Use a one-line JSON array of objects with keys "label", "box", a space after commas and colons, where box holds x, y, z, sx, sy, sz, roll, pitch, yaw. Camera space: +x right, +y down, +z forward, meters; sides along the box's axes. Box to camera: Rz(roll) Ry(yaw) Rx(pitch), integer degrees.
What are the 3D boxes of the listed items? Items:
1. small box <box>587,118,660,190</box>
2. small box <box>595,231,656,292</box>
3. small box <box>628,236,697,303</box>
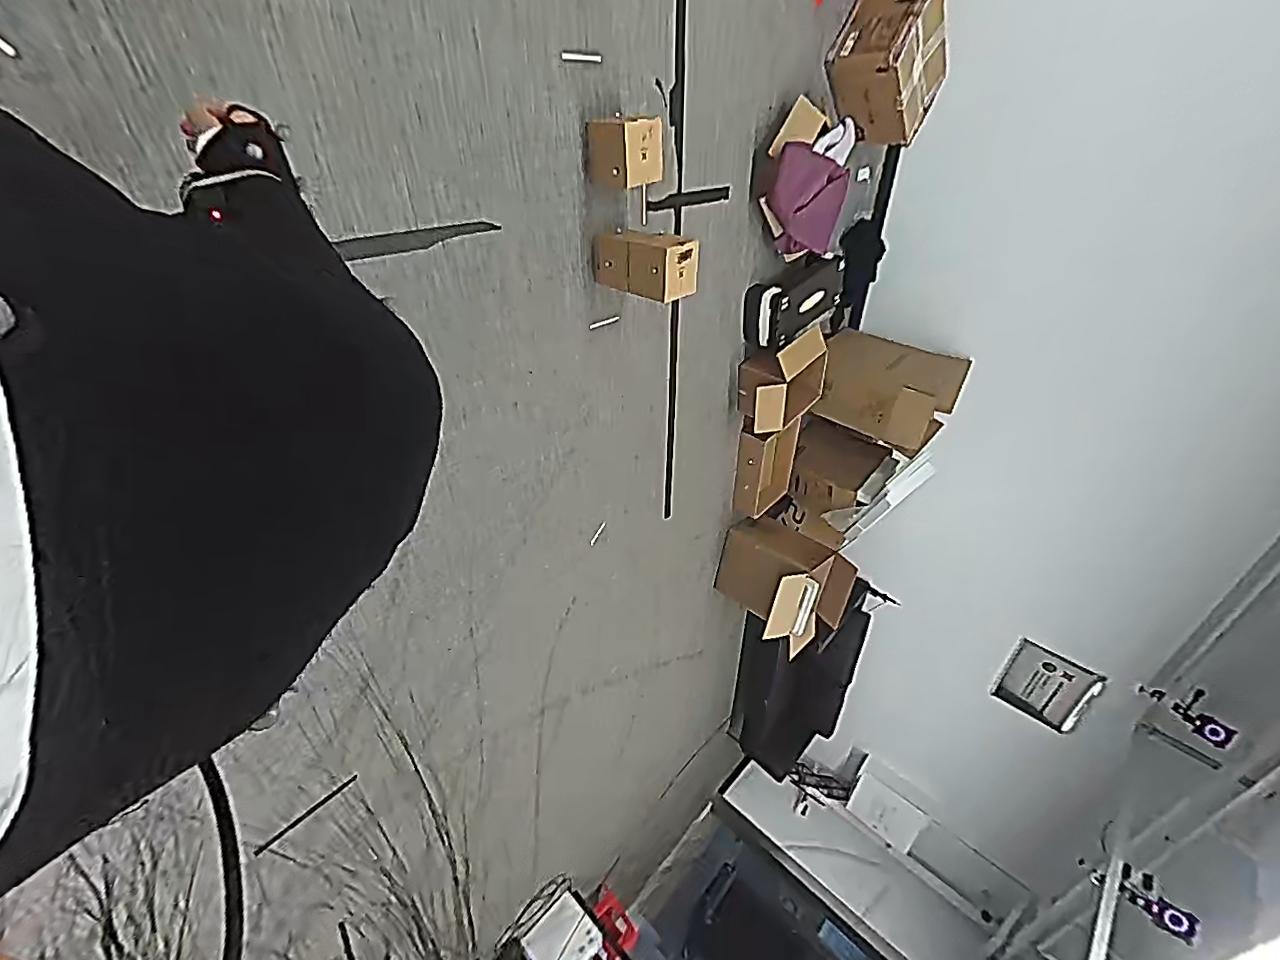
[{"label": "small box", "box": [-0.052, -1.042, 1.722, 0.168, 0.176, 0.179, -34, 137, -34]}, {"label": "small box", "box": [-0.048, -0.779, 1.919, 0.179, 0.176, 0.168, -30, 135, -37]}, {"label": "small box", "box": [0.073, -0.717, 1.824, 0.168, 0.176, 0.179, -32, 137, -36]}]
